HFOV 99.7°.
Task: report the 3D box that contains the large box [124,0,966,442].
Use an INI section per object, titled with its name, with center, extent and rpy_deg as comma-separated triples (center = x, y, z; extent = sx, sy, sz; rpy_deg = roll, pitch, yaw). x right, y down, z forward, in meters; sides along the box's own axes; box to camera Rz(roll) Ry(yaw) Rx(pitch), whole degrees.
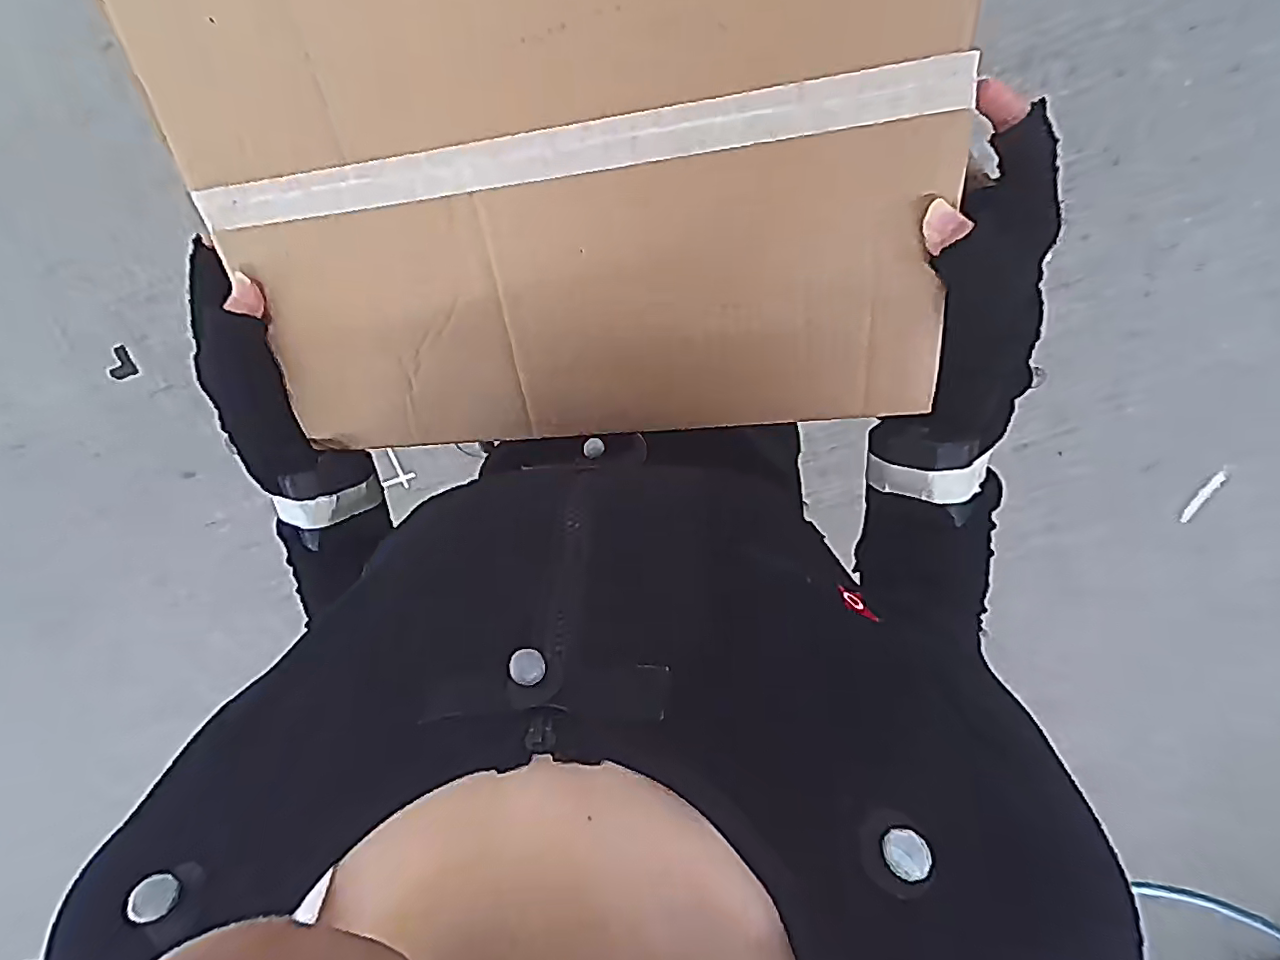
[large box]
center = -0.029, -0.246, 0.407
extent = 0.408, 0.320, 0.320
rpy_deg = -3, 119, 11
